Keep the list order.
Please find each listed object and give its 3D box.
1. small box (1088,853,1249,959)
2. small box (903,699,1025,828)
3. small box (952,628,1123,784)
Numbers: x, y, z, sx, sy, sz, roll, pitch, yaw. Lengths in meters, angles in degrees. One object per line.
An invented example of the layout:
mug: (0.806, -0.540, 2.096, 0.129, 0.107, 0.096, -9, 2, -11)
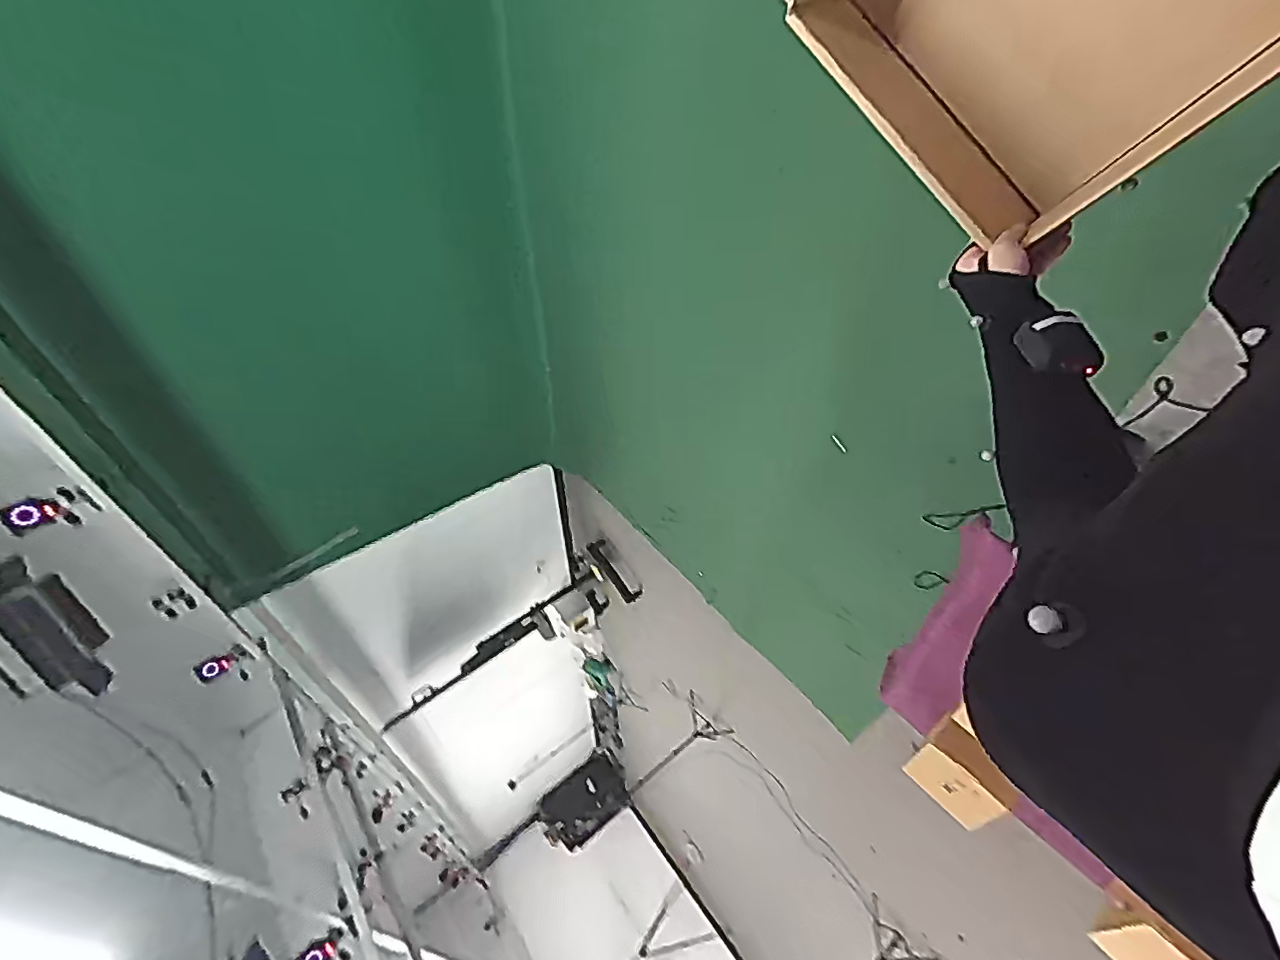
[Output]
small box: (0.967, 0.811, 0.961, 0.168, 0.176, 0.179, 43, 148, 33)
small box: (0.724, 0.614, 1.189, 0.168, 0.176, 0.179, 40, 146, 32)
small box: (0.722, 0.409, 0.989, 0.168, 0.176, 0.179, 41, 150, 32)
